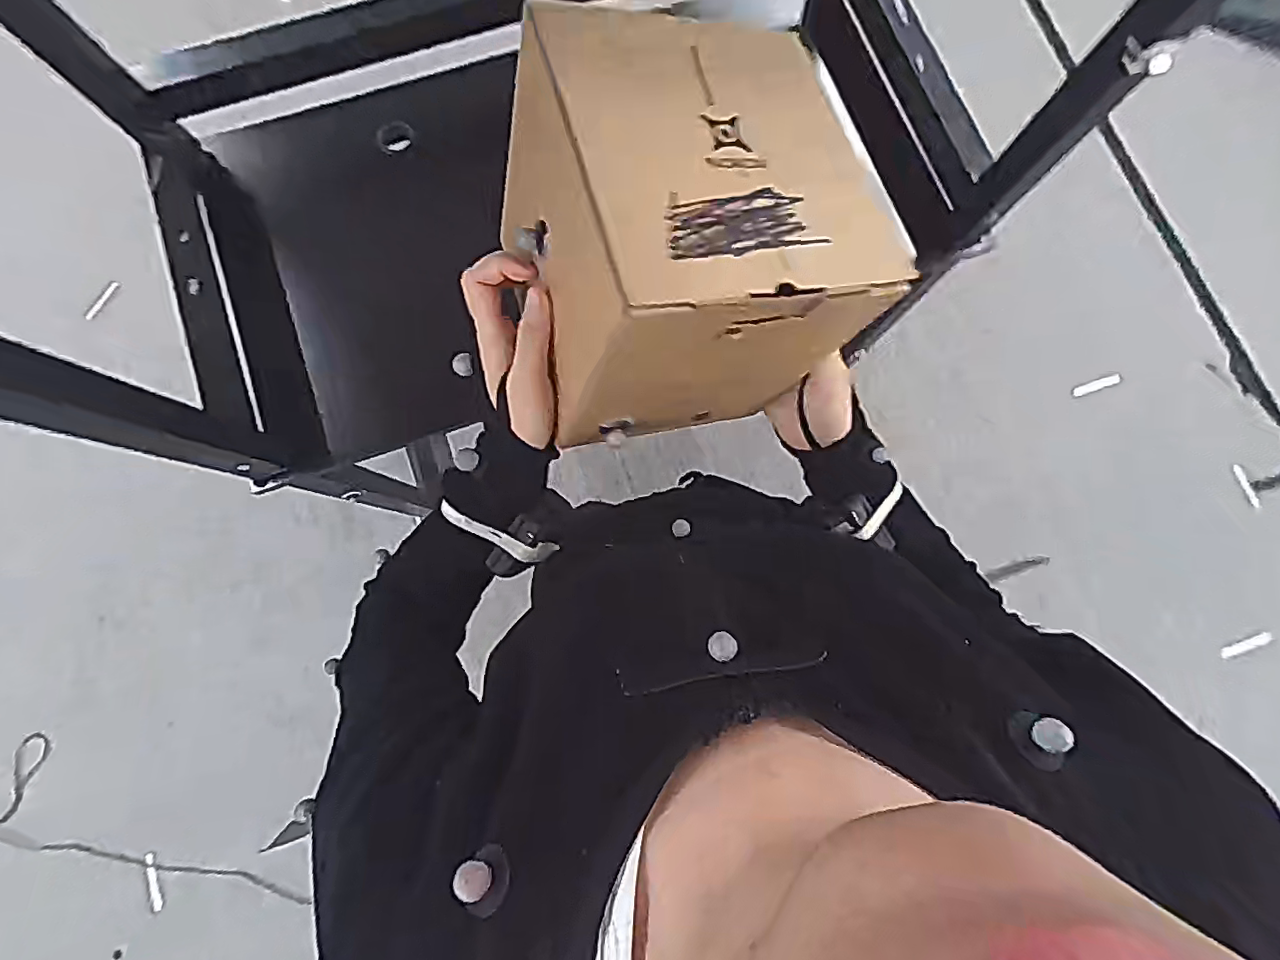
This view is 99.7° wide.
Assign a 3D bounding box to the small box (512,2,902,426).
[{"bbox_3d":[0.019,-0.145,0.348,0.168,0.176,0.179,-11,75,-21],"label":"small box"}]
